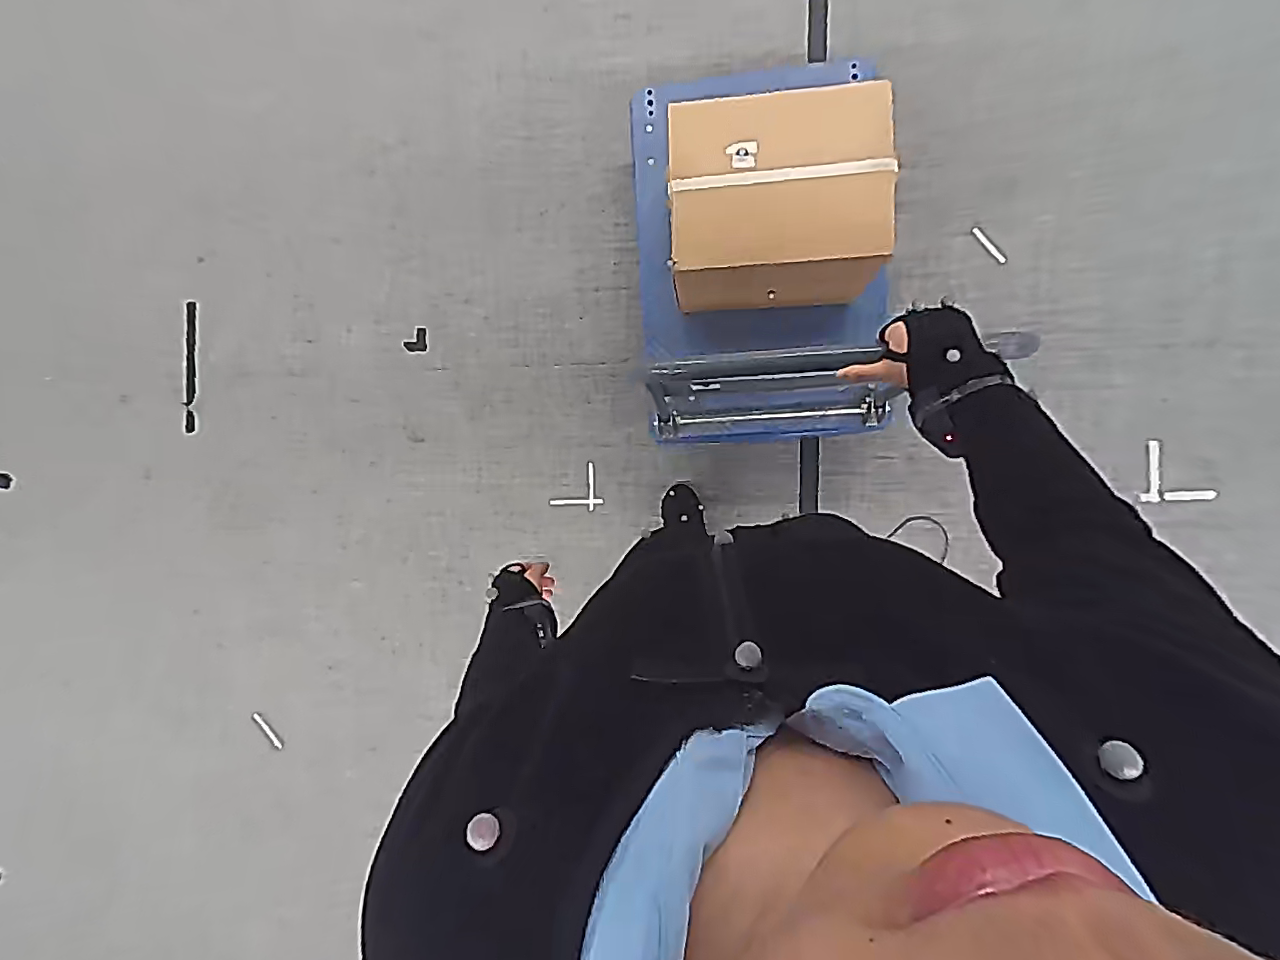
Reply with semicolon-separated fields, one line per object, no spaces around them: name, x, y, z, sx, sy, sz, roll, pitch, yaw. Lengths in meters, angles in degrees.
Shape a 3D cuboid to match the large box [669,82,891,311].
large box;0.279;-0.570;1.161;0.408;0.320;0.320;-2;91;8
